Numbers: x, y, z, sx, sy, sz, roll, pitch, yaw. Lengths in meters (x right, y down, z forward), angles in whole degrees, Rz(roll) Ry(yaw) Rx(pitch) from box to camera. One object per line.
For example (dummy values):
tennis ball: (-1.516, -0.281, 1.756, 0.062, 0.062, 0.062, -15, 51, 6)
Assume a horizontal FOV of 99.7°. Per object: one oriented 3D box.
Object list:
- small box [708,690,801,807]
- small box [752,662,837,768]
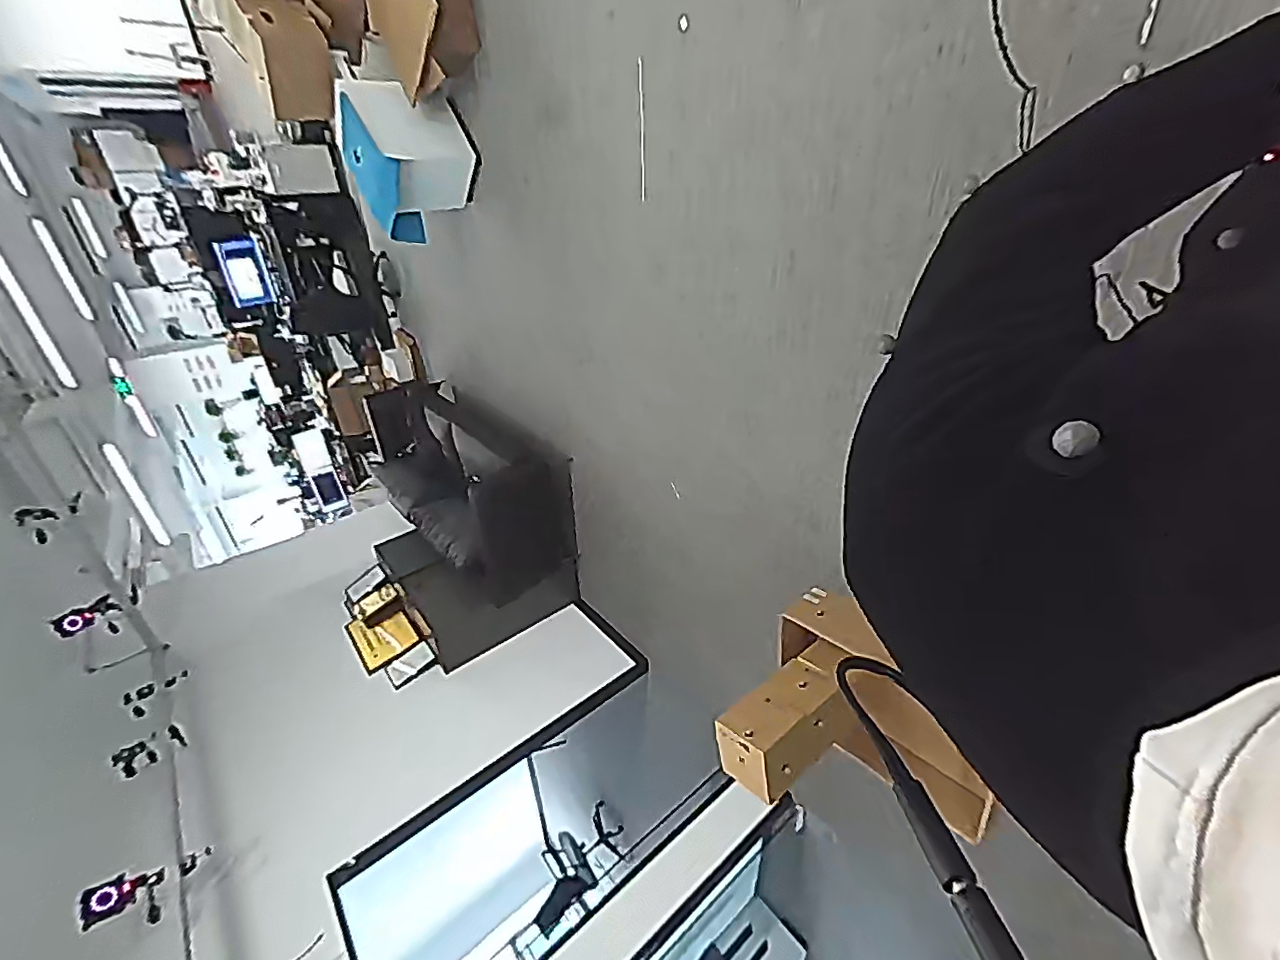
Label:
small box: (0.305, 0.696, 1.421, 0.168, 0.176, 0.179, 12, 120, 50)
small box: (0.433, 0.645, 1.510, 0.168, 0.176, 0.179, 16, 122, 50)
